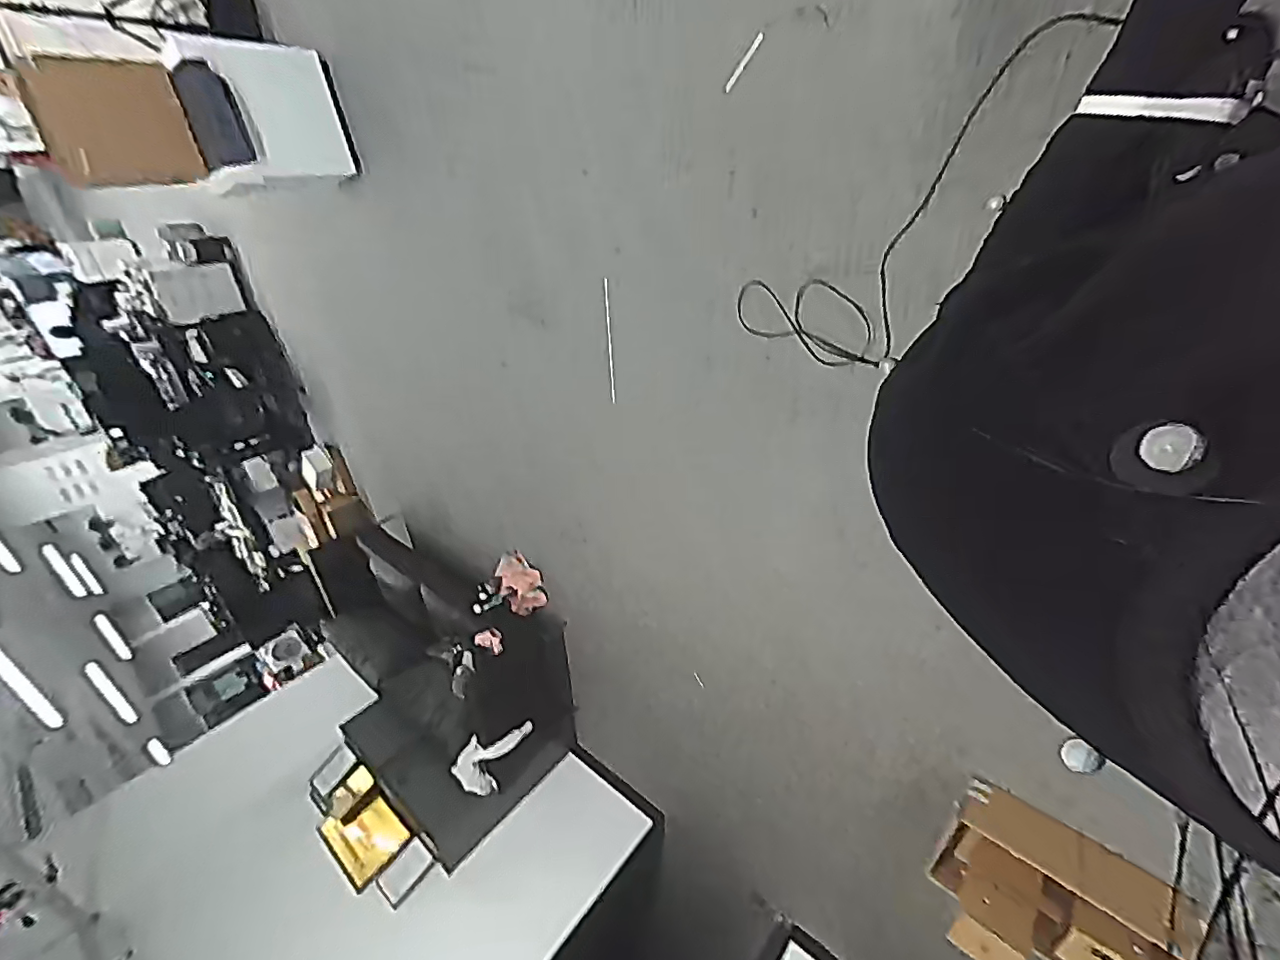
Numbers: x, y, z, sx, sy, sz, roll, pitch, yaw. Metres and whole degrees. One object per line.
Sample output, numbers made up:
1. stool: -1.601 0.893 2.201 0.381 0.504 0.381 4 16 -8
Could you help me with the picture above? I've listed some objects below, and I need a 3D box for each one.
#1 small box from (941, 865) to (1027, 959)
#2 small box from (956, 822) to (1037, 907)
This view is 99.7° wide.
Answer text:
1. small box: 1.048 1.327 1.642 0.168 0.176 0.179 24 129 33
2. small box: 1.155 1.267 1.749 0.168 0.176 0.179 23 127 32
